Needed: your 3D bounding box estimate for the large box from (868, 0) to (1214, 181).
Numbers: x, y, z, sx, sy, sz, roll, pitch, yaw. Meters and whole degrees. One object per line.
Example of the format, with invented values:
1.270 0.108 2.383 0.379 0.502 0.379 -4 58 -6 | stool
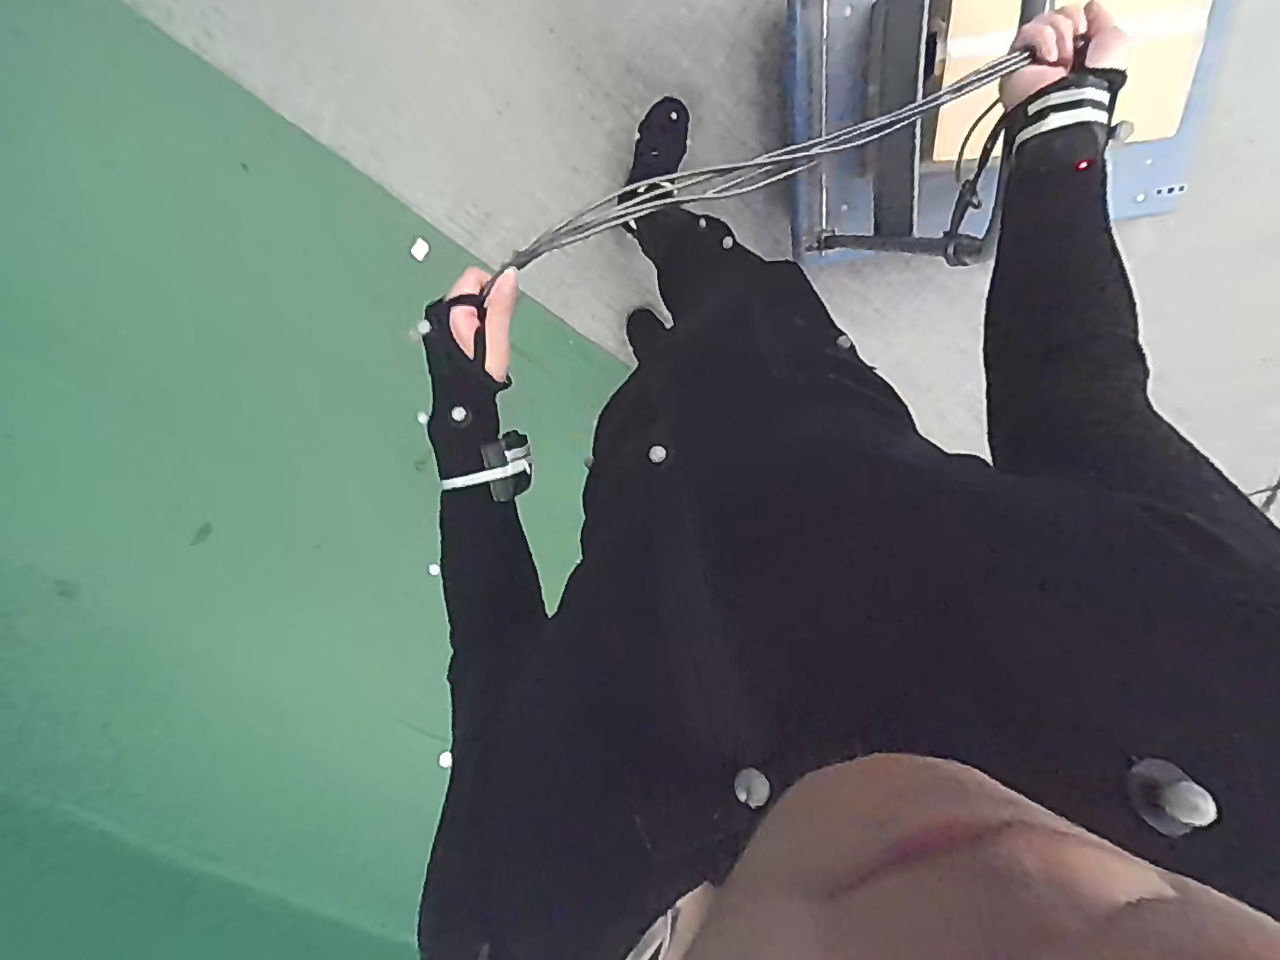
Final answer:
0.675 -0.749 0.976 0.408 0.320 0.320 -5 115 1 | large box
